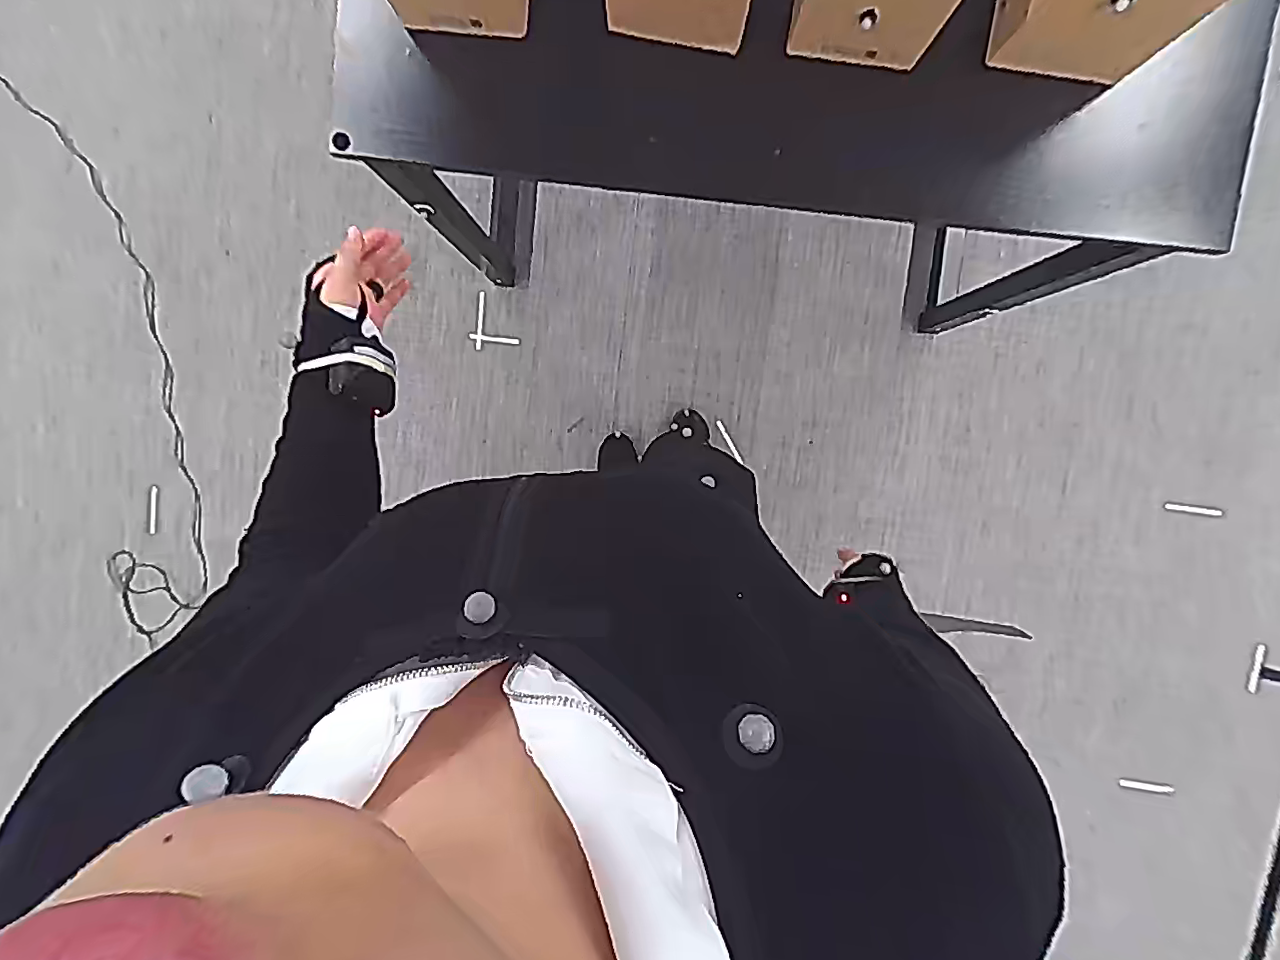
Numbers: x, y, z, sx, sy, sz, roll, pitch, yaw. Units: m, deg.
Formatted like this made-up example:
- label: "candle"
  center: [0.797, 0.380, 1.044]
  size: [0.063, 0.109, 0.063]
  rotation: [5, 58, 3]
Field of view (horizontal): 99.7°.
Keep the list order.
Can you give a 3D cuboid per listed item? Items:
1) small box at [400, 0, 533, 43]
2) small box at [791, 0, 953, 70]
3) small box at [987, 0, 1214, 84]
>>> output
- label: "small box"
  center: [-0.218, -0.670, 0.633]
  size: [0.168, 0.176, 0.179]
  rotation: [6, 95, 1]
- label: "small box"
  center: [0.285, -0.624, 0.628]
  size: [0.168, 0.176, 0.179]
  rotation: [8, 95, 0]
- label: "small box"
  center: [0.545, -0.600, 0.624]
  size: [0.179, 0.176, 0.168]
  rotation: [9, 95, 0]
